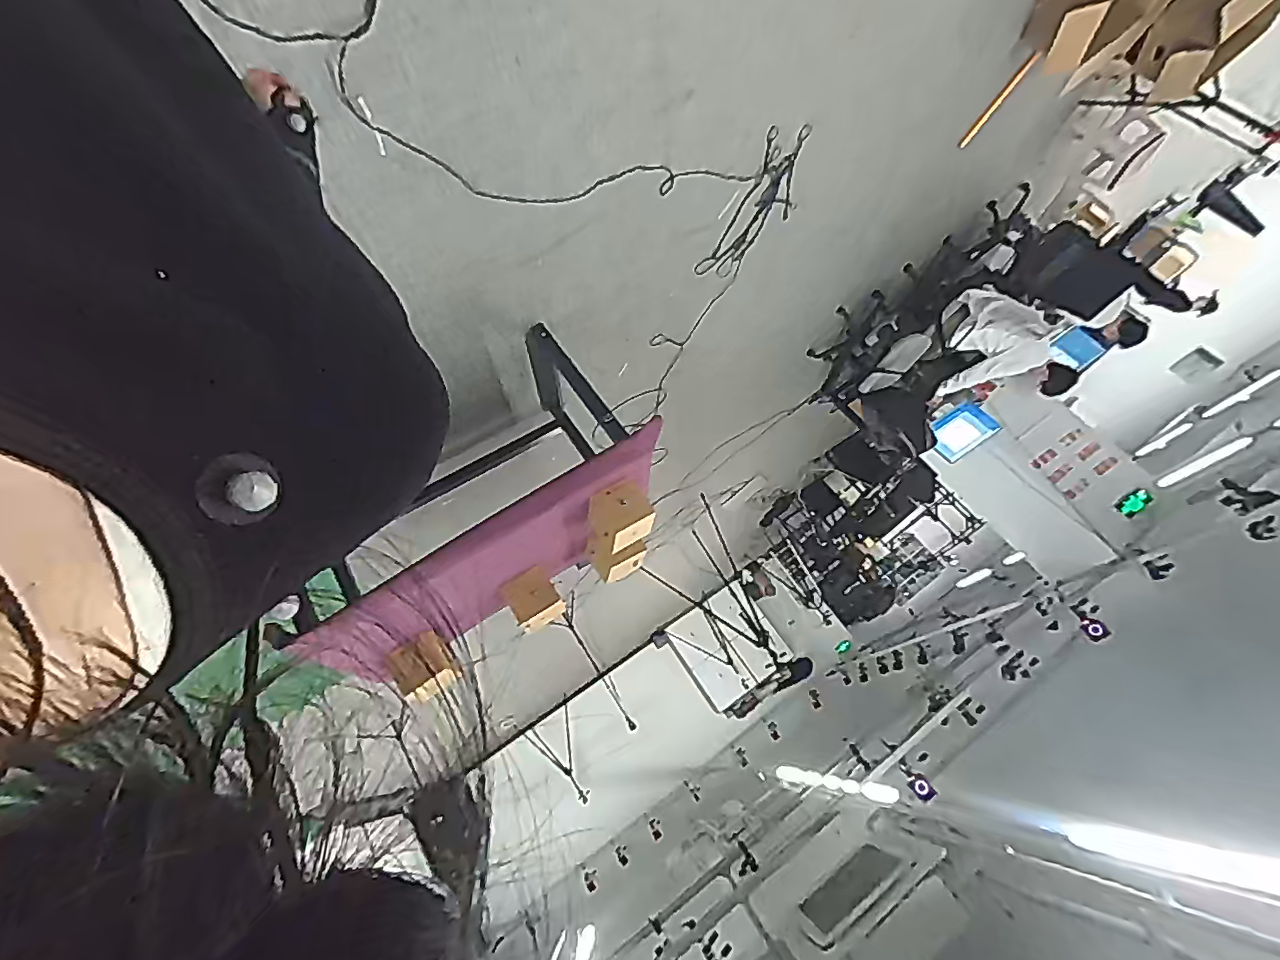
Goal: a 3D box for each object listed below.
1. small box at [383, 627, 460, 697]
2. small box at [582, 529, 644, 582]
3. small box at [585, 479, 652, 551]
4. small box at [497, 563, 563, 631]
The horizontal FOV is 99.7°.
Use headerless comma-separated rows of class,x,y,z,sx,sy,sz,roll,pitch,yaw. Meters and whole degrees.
small box,-0.775,0.648,1.922,0.168,0.176,0.179,-34,157,-12
small box,-0.113,0.275,2.186,0.179,0.176,0.168,-24,154,-27
small box,-0.081,0.117,1.910,0.168,0.176,0.179,-27,157,-23
small box,-0.418,0.442,2.058,0.179,0.176,0.168,-32,157,-16
